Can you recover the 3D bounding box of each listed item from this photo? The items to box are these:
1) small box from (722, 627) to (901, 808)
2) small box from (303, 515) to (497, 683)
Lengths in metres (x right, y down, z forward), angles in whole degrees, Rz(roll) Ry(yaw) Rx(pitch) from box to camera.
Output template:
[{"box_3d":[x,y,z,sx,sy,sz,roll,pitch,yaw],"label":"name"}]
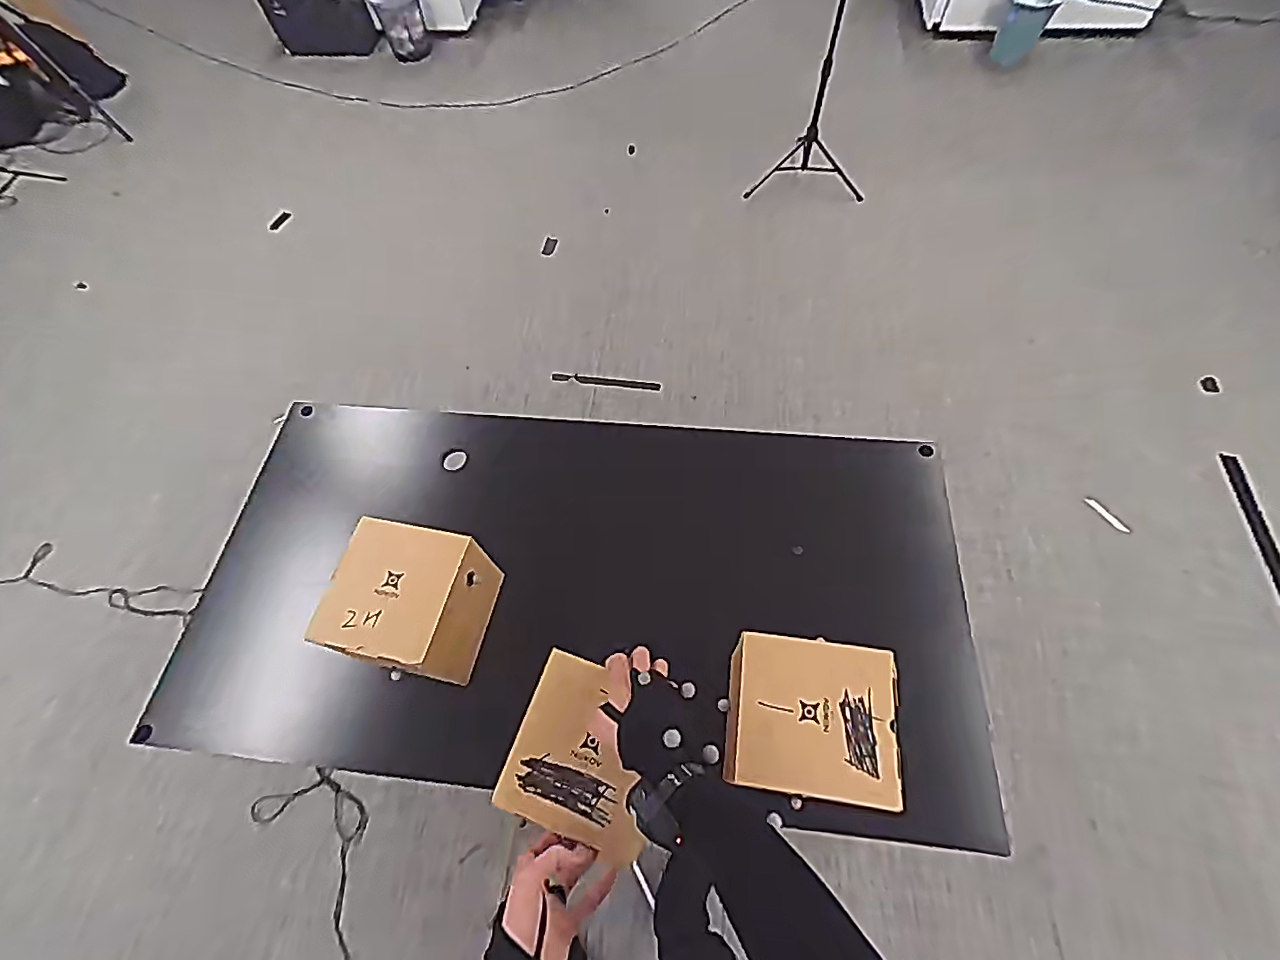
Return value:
[{"box_3d":[0.201,0.293,0.672,0.179,0.176,0.168,6,62,8],"label":"small box"},{"box_3d":[-0.320,0.174,0.769,0.168,0.176,0.179,9,64,9],"label":"small box"}]
